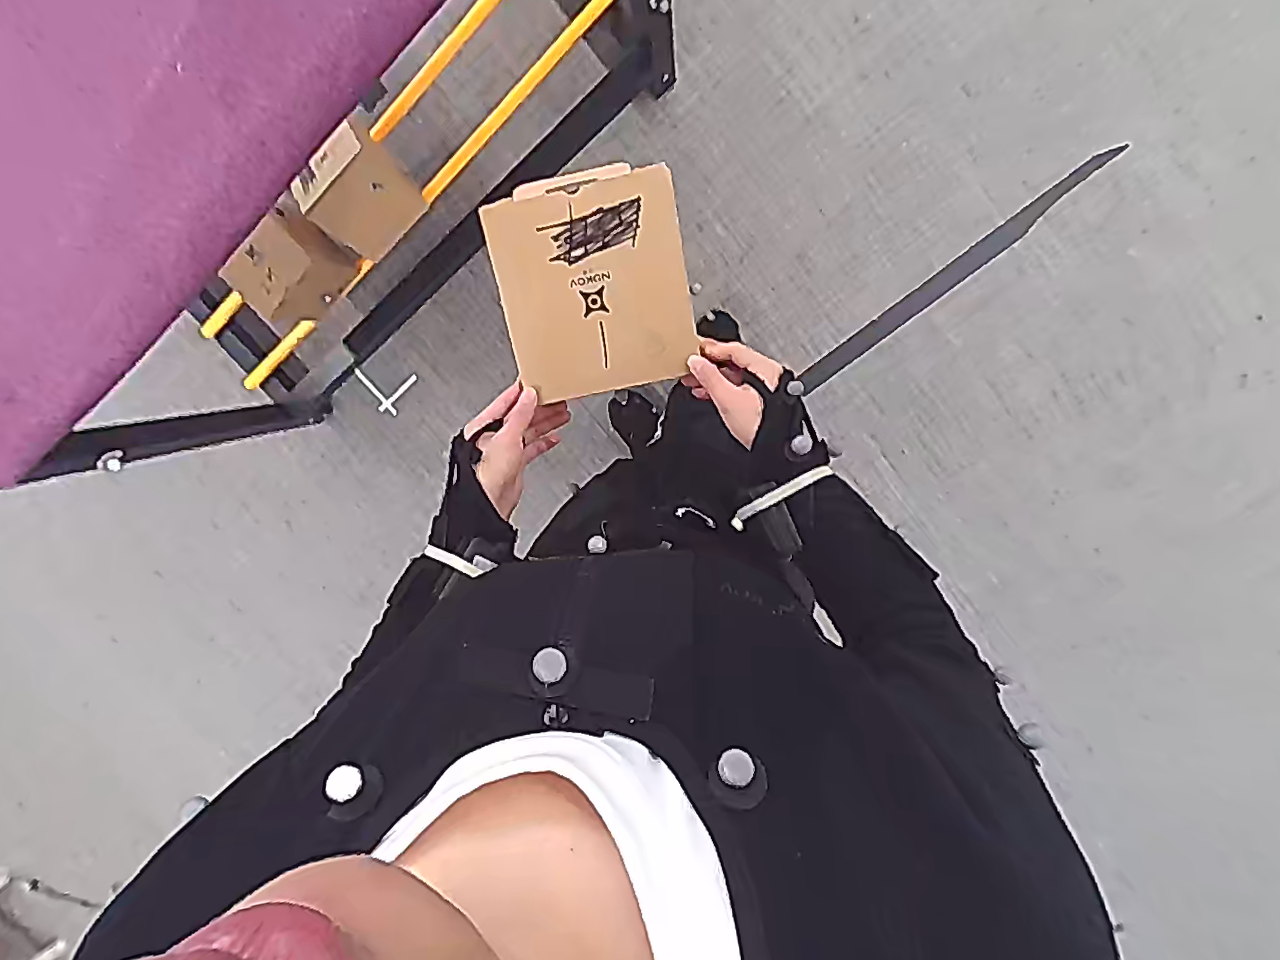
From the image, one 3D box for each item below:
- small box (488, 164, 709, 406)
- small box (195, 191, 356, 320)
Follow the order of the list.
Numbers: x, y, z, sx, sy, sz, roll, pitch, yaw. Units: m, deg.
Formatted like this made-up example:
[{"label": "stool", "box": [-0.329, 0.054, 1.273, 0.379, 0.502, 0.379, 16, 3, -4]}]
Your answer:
[{"label": "small box", "box": [-0.030, -0.178, 0.537, 0.168, 0.176, 0.179, -9, 103, 5]}, {"label": "small box", "box": [-0.739, -0.447, 1.115, 0.168, 0.176, 0.179, -41, 99, 13]}]
